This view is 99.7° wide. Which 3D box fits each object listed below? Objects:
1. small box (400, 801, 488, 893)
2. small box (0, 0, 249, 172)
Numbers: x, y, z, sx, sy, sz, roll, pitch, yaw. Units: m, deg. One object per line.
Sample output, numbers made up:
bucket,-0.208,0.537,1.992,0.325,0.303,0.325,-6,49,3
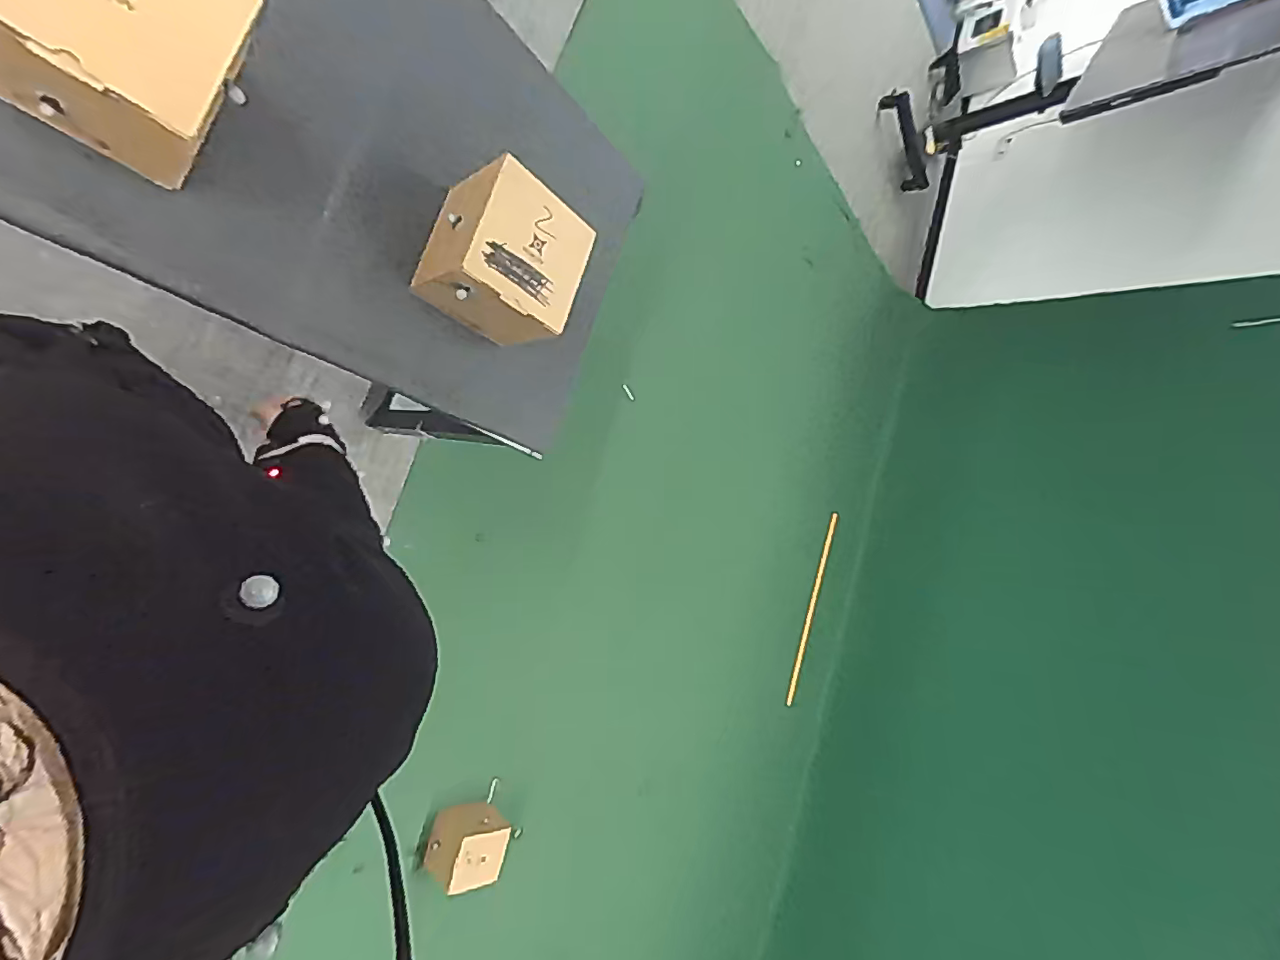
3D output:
small box,-0.613,1.134,1.689,0.179,0.176,0.168,23,79,-46
small box,-0.492,-0.422,0.485,0.168,0.176,0.179,27,77,-46
